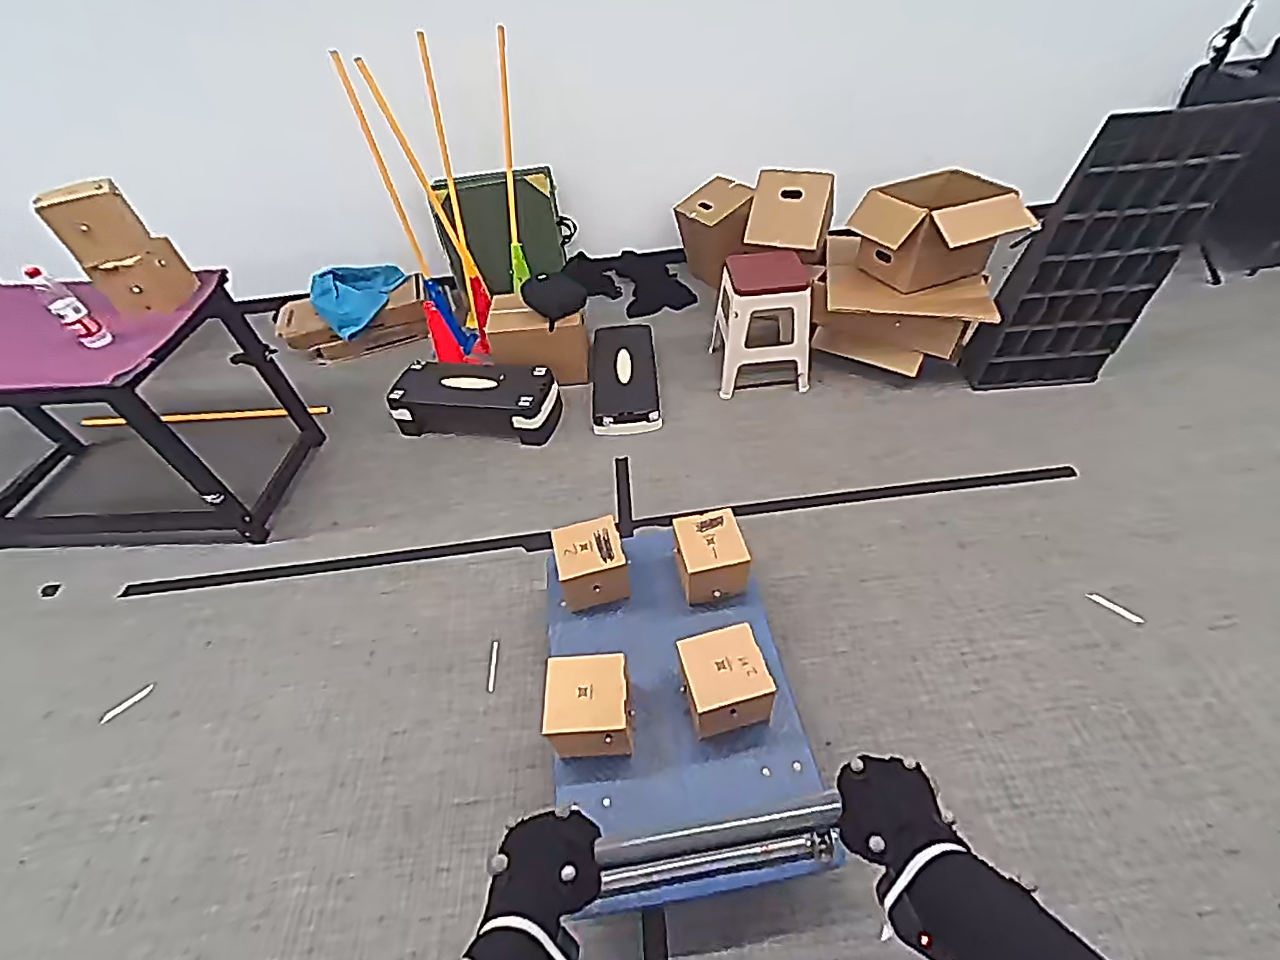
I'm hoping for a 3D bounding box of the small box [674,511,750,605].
[{"bbox_3d":[0.188,0.213,1.469,0.168,0.176,0.179,-11,49,-4],"label":"small box"}]

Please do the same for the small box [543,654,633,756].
[{"bbox_3d":[-0.112,0.514,1.228,0.179,0.176,0.168,-4,47,1],"label":"small box"}]

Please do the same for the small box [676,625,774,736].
[{"bbox_3d":[0.190,0.463,1.240,0.179,0.176,0.168,-13,48,-5],"label":"small box"}]
